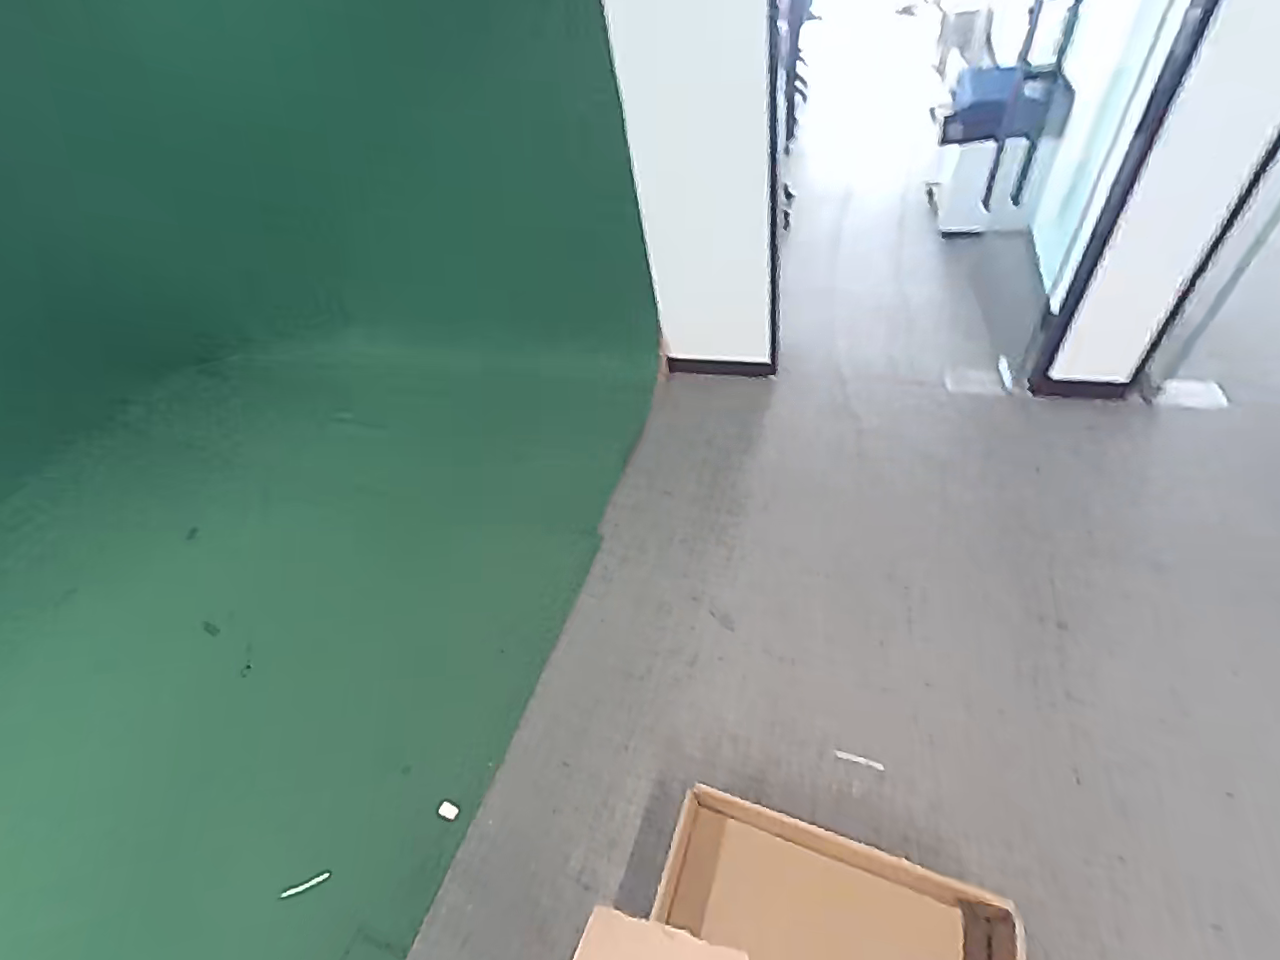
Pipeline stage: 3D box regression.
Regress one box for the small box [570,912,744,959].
[{"bbox_3d":[-0.001,0.544,0.470,0.168,0.179,0.176,6,93,13],"label":"small box"}]
